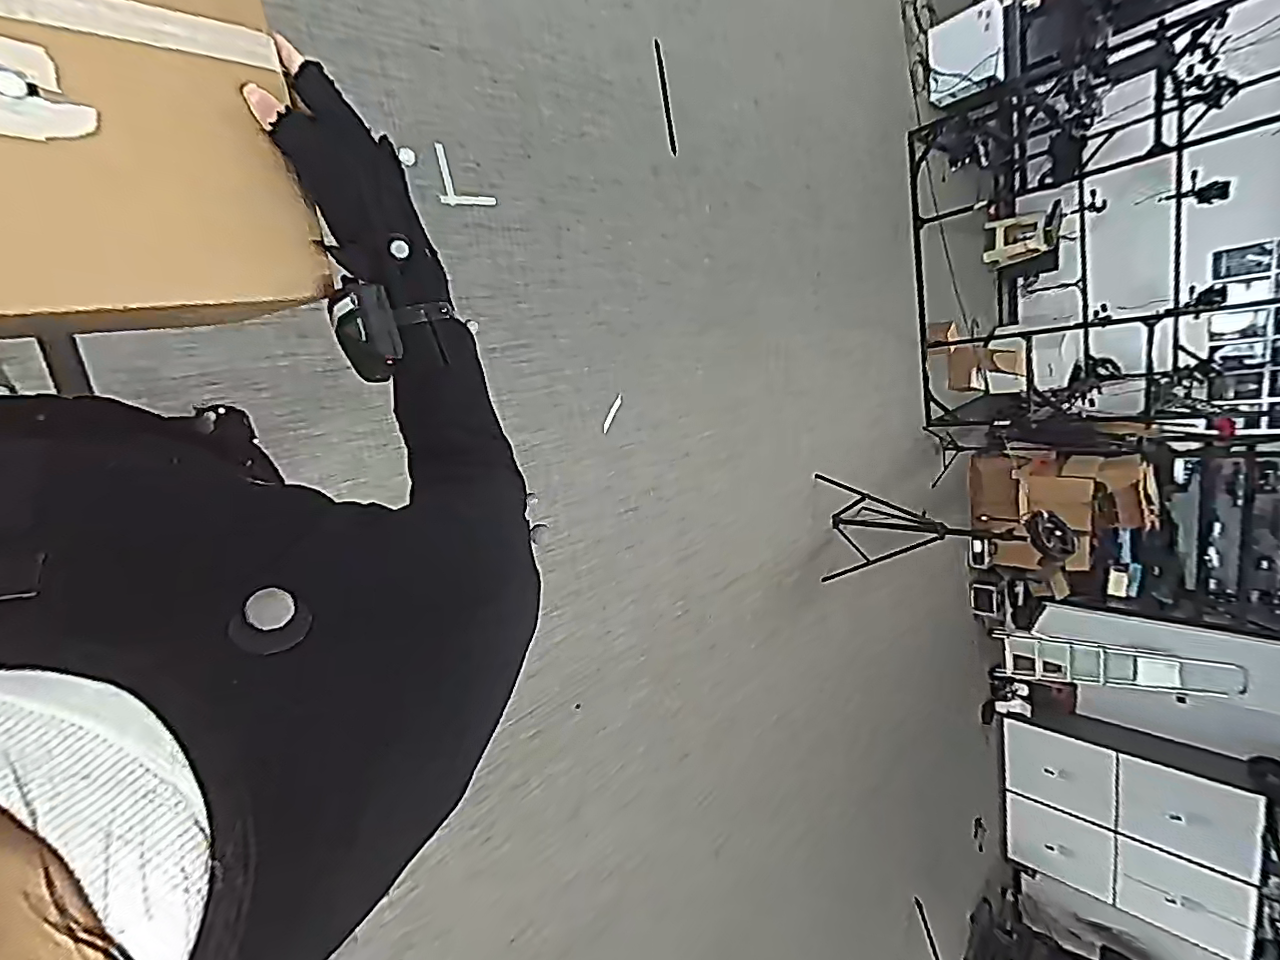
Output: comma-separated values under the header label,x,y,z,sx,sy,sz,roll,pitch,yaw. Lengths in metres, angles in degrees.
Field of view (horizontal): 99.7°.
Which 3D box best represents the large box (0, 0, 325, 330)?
label,x,y,z,sx,sy,sz,roll,pitch,yaw
large box,-0.504,-0.258,0.341,0.408,0.320,0.320,-24,116,-43
